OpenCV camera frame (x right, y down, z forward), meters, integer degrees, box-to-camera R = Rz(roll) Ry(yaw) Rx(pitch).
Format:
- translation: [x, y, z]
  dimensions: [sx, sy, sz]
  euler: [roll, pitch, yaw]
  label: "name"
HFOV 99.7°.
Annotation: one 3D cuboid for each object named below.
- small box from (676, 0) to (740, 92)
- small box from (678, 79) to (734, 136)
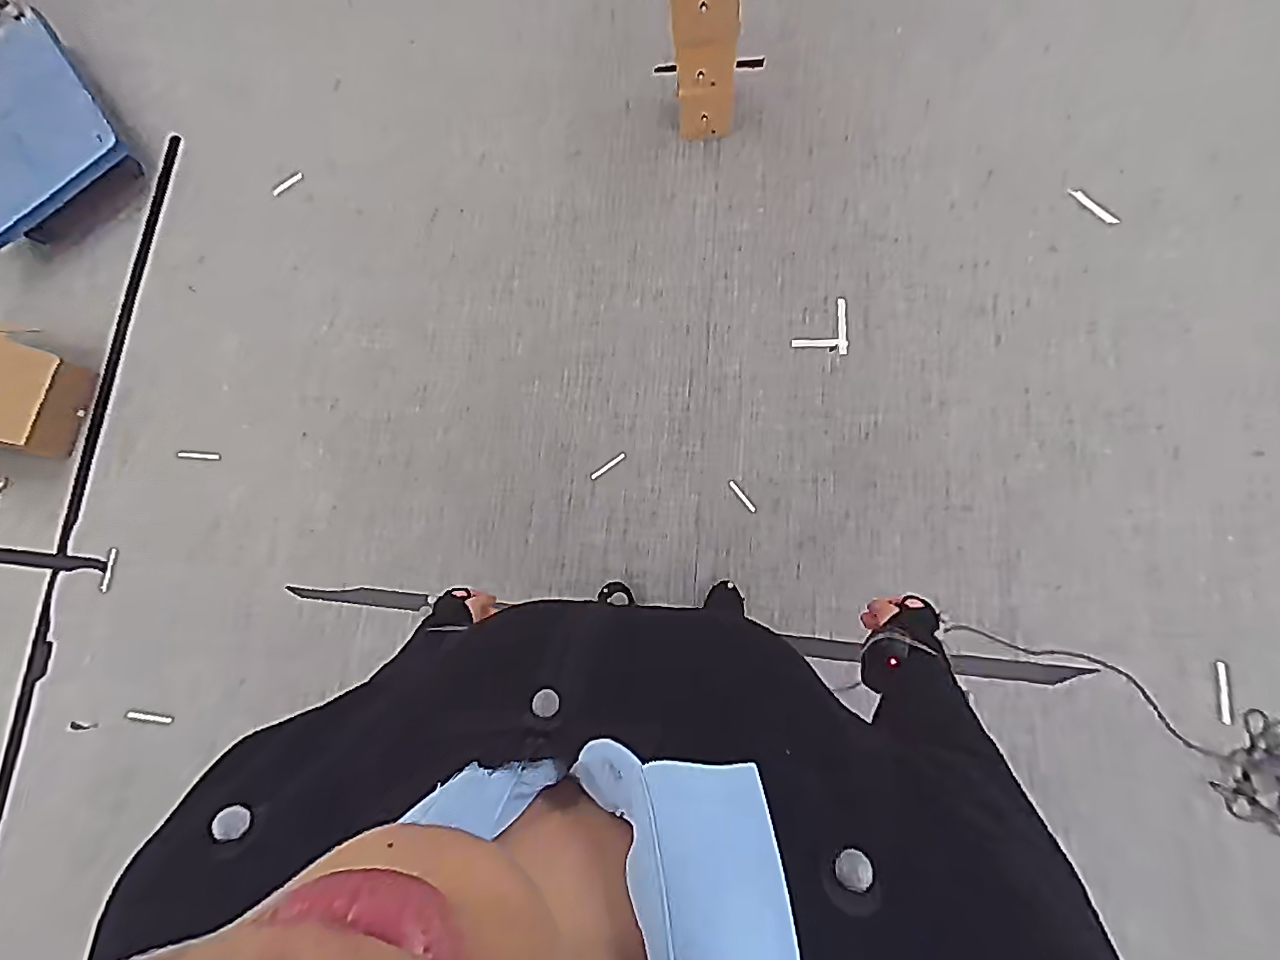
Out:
- translation: [0.194, -1.249, 1.535]
  dimensions: [0.168, 0.176, 0.179]
  euler: [3, 80, 8]
  label: "small box"
- translation: [0.210, -1.209, 1.692]
  dimensions: [0.168, 0.176, 0.179]
  euler: [1, 79, 7]
  label: "small box"
